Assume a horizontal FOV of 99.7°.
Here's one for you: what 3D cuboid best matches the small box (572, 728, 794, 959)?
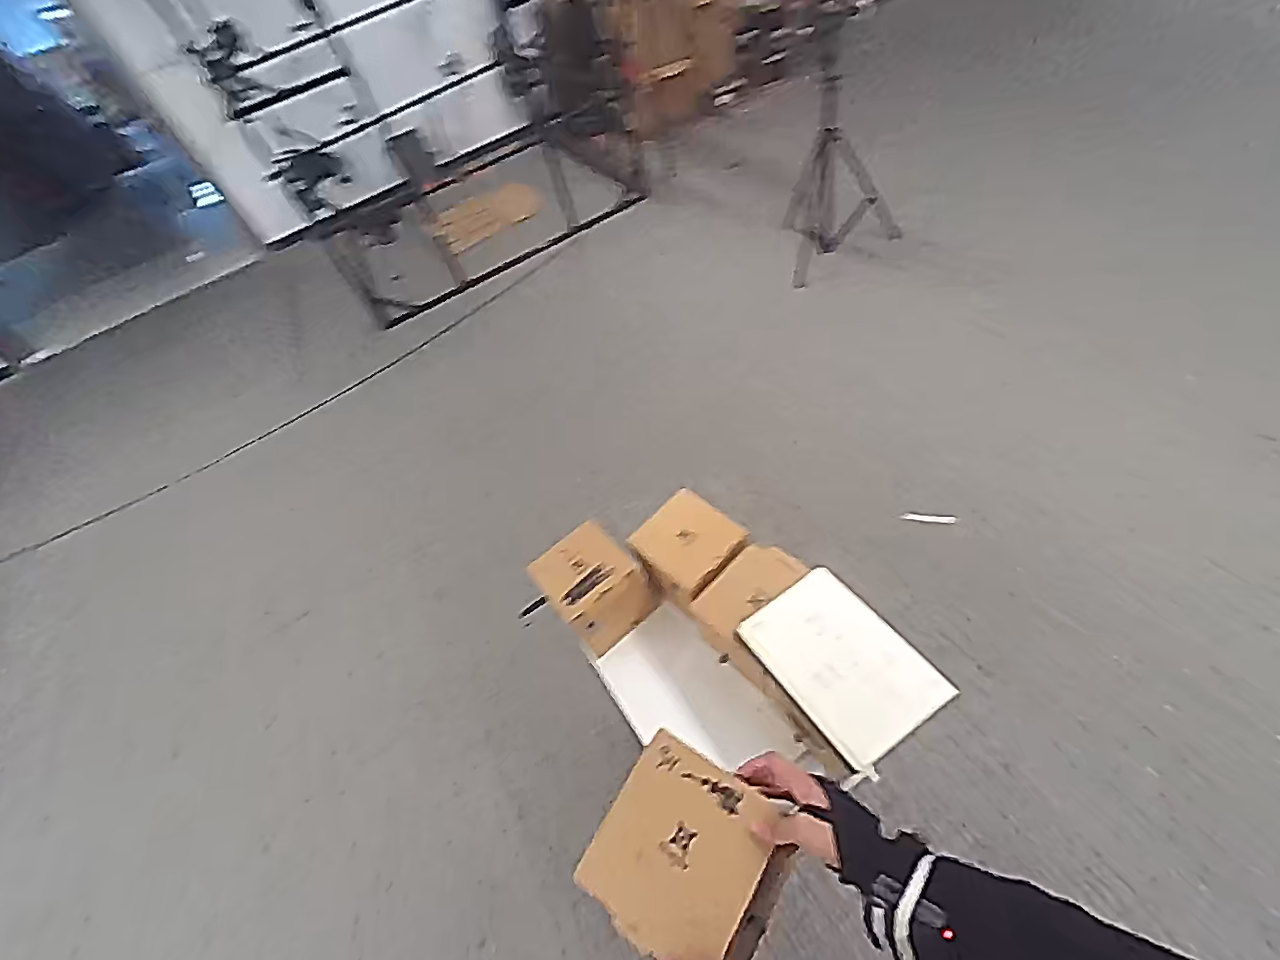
[{"bbox_3d":[0.061,0.421,0.612,0.168,0.176,0.179,20,65,34],"label":"small box"}]
